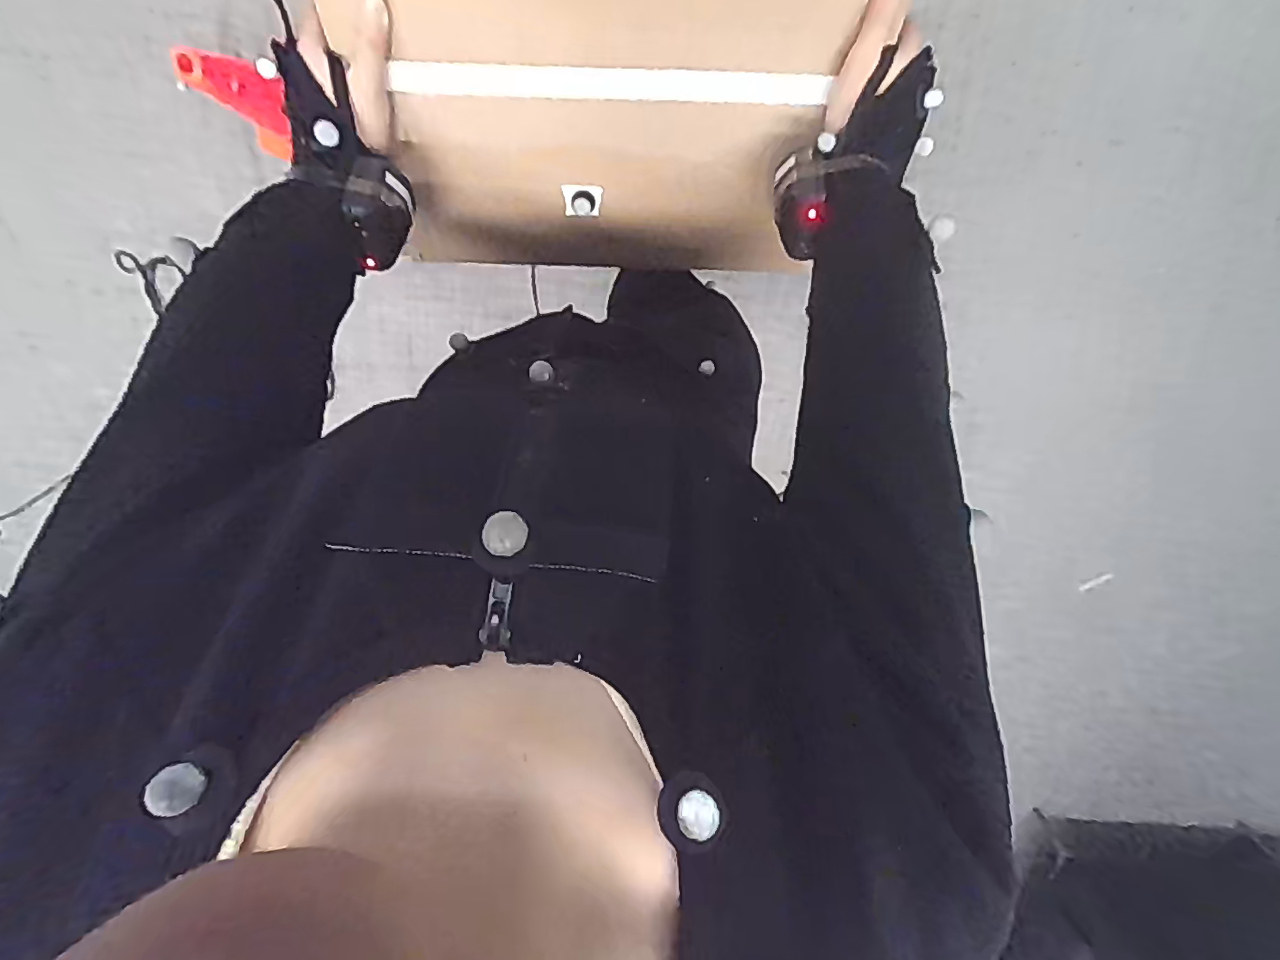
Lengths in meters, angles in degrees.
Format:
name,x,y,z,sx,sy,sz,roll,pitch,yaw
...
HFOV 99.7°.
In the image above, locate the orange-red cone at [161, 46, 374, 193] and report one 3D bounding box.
name,x,y,z,sx,sy,sz,roll,pitch,yaw
orange-red cone,-0.643,-0.639,0.907,0.199,0.360,0.198,25,109,-9
